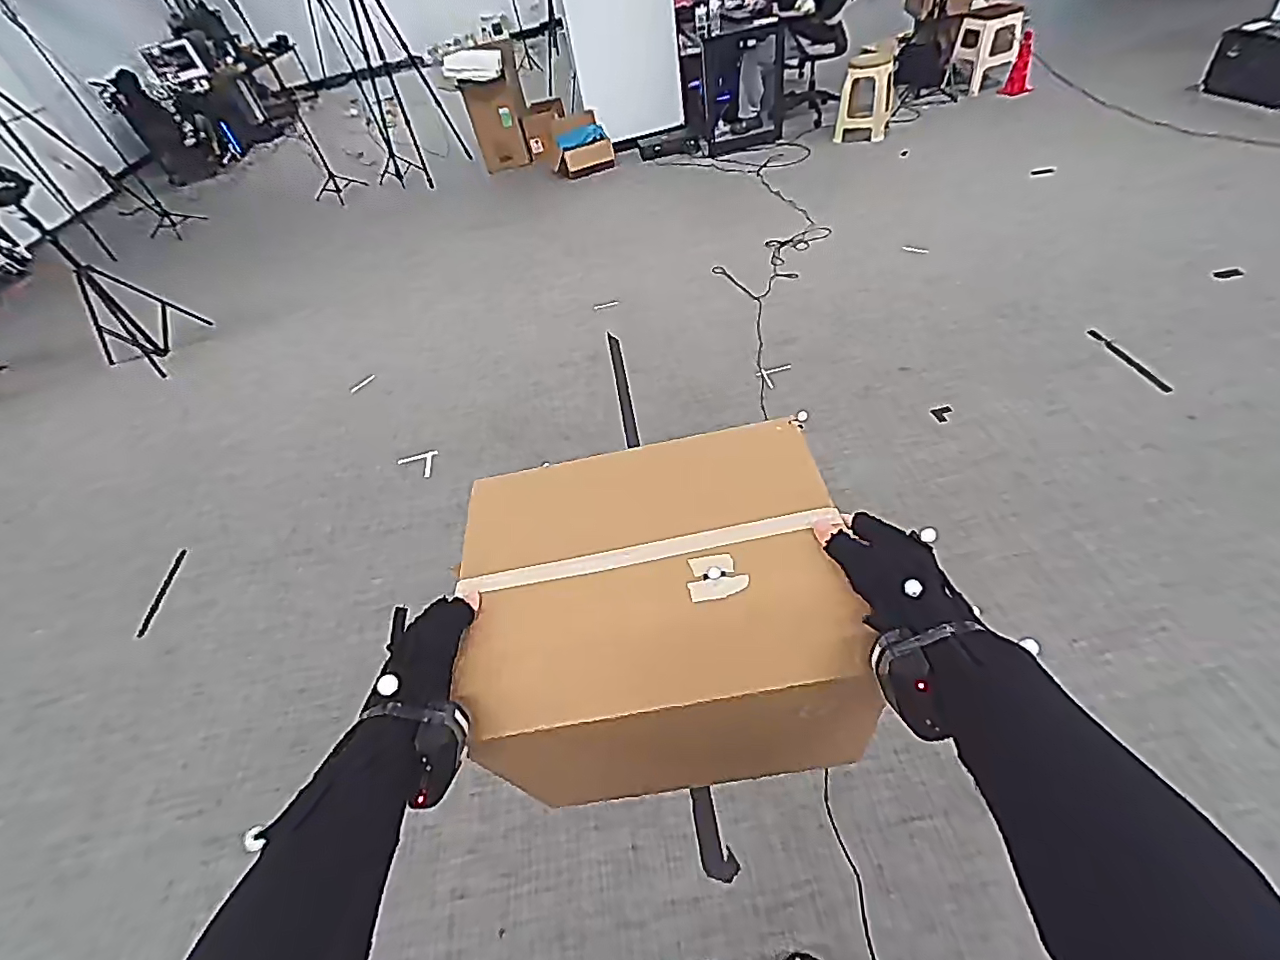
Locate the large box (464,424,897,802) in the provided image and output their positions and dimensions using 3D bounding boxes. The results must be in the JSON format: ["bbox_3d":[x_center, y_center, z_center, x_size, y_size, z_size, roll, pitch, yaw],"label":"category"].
[{"bbox_3d":[0.039,0.177,0.687,0.408,0.320,0.320,-11,49,3],"label":"large box"}]
